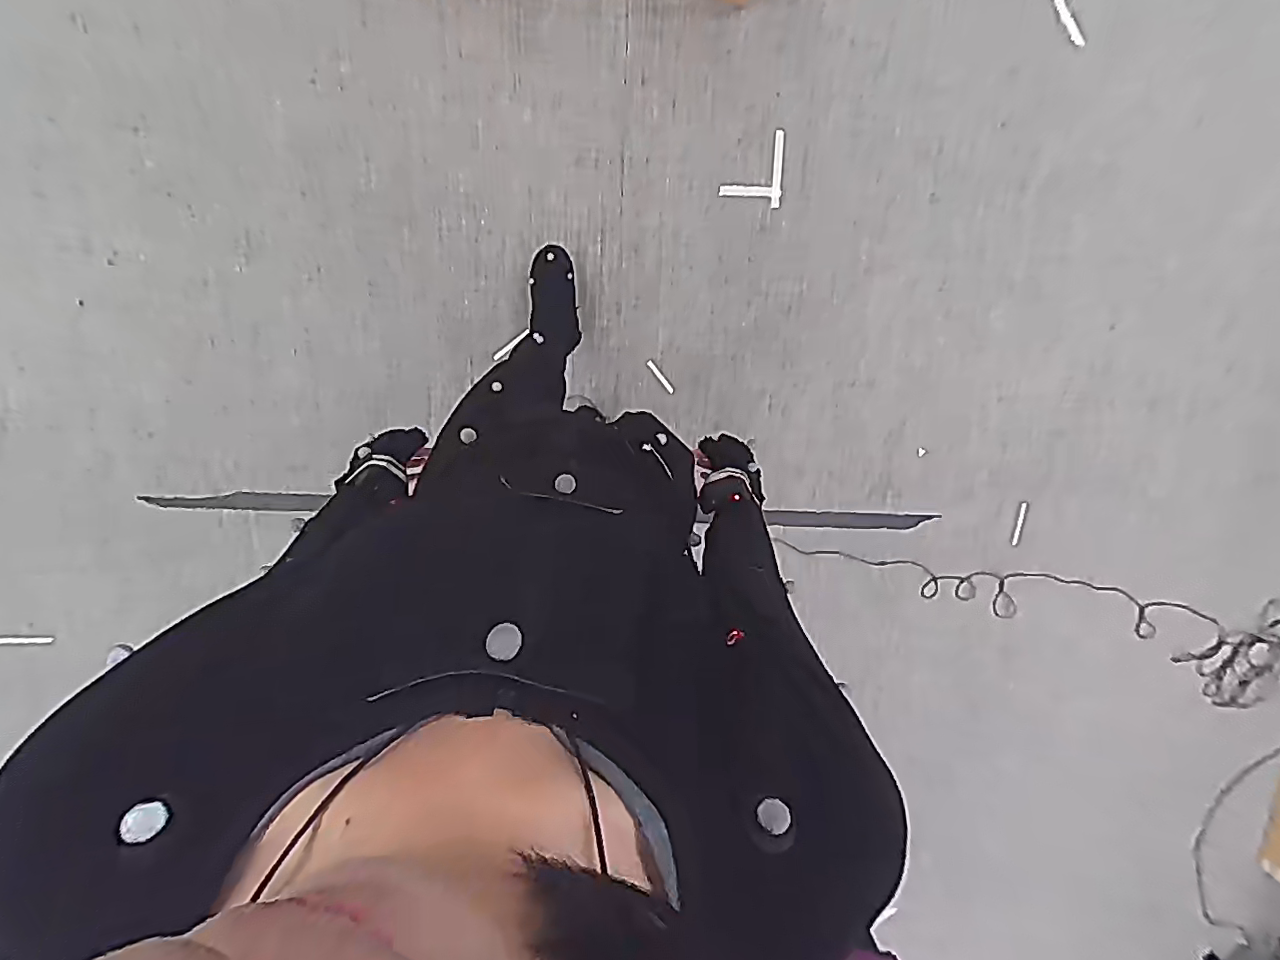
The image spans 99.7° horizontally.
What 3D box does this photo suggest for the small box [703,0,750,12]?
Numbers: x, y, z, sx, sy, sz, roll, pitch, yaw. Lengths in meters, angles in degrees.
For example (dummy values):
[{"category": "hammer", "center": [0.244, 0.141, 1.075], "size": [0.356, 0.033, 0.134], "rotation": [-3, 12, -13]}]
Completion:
[{"category": "small box", "center": [0.188, -1.152, 1.149], "size": [0.179, 0.176, 0.168], "rotation": [13, 103, -9]}]
